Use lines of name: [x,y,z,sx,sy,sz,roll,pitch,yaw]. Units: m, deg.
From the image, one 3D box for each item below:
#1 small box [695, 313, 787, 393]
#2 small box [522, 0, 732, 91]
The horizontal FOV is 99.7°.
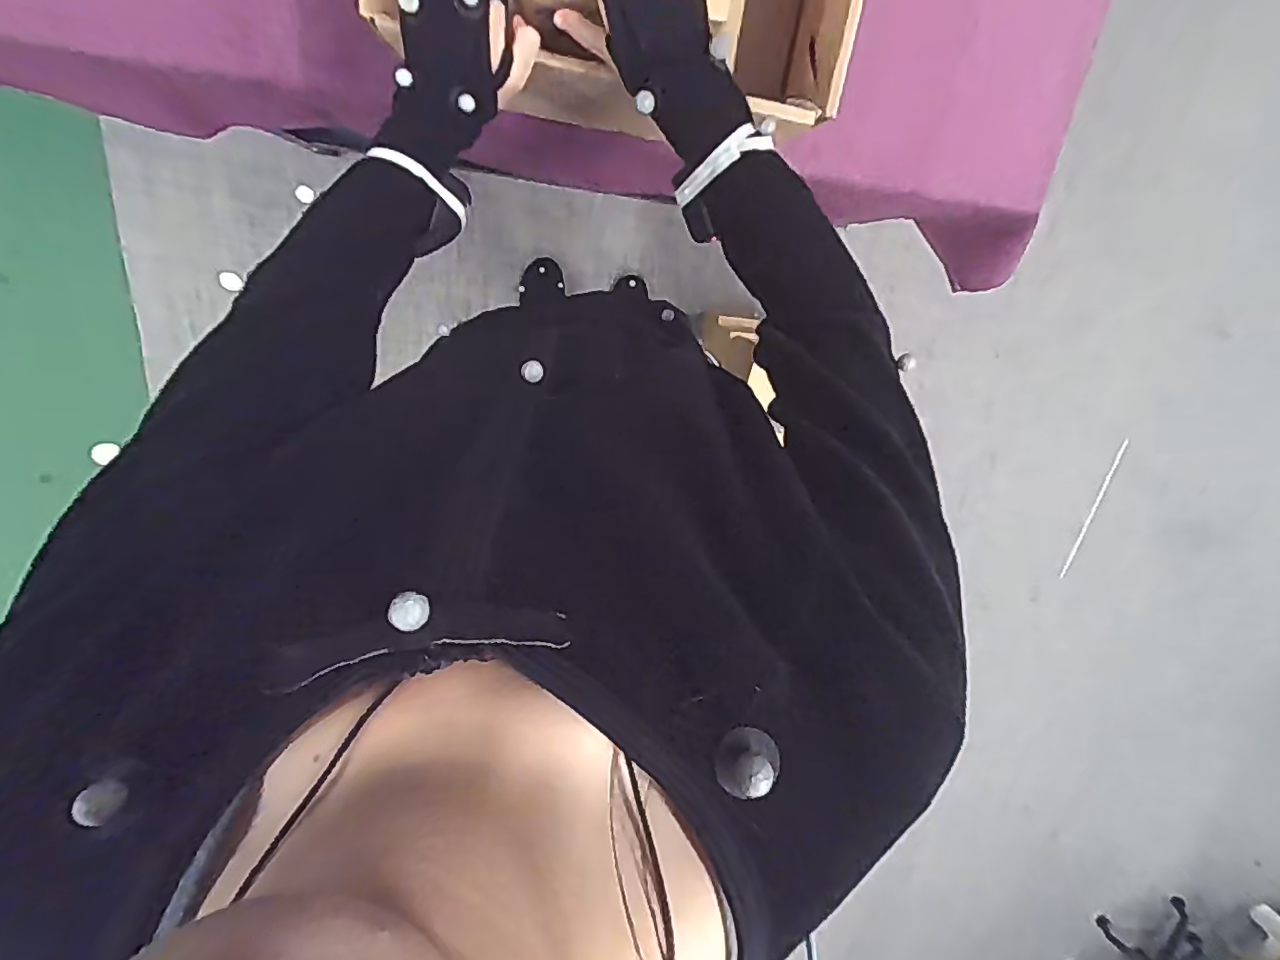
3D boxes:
small box: [0.249,-0.328,1.379,0.179,0.176,0.168,5,111,-7]
small box: [-0.002,-0.467,0.462,0.168,0.176,0.179,6,110,-6]
